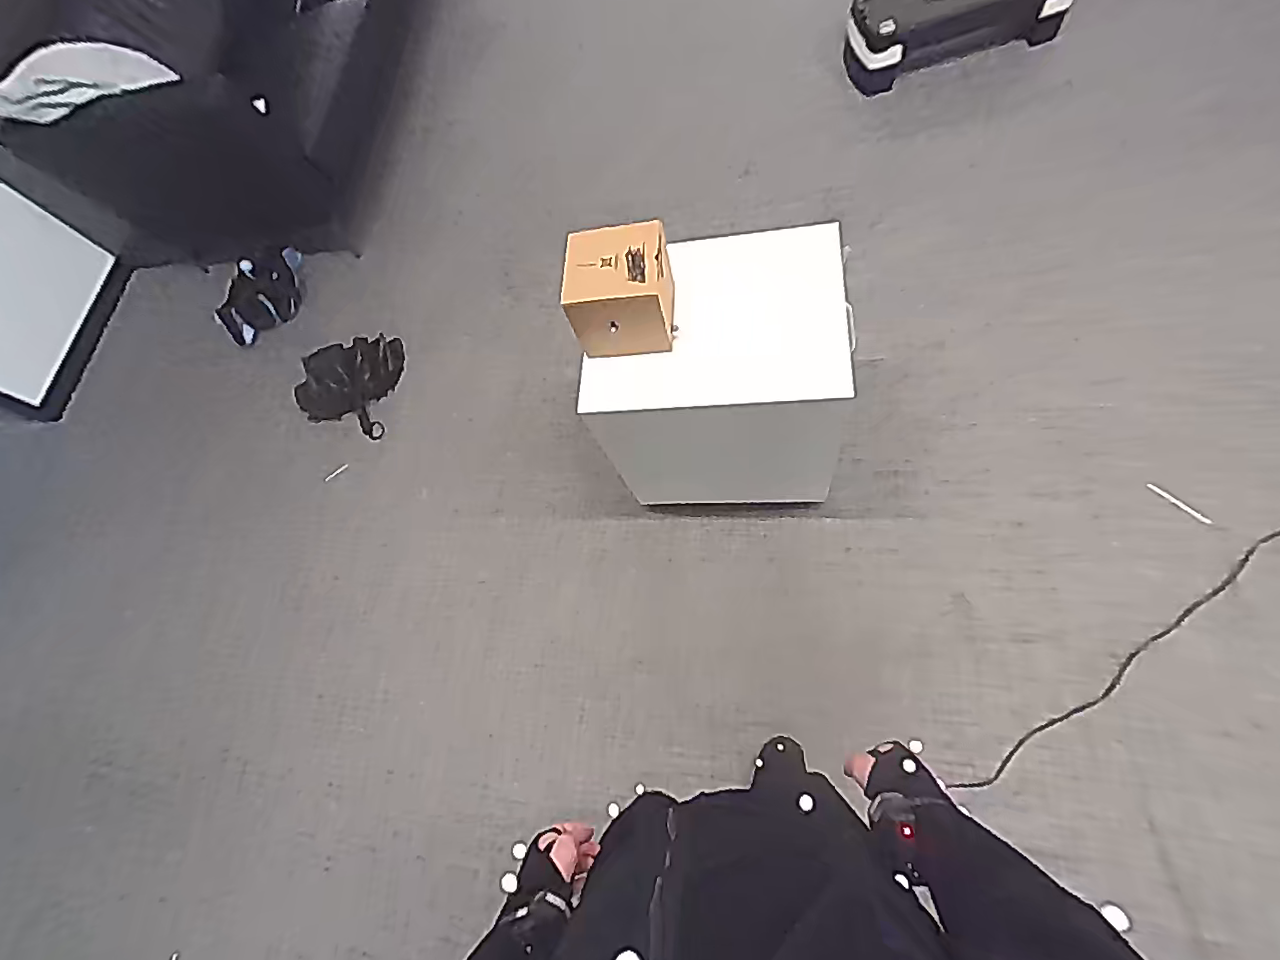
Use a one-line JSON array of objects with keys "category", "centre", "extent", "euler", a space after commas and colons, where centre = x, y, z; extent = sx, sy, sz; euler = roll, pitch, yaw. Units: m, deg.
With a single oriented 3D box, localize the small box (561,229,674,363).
[{"category": "small box", "centre": [-0.033, -0.339, 1.026], "extent": [0.179, 0.176, 0.168], "euler": [-3, 67, 13]}]
